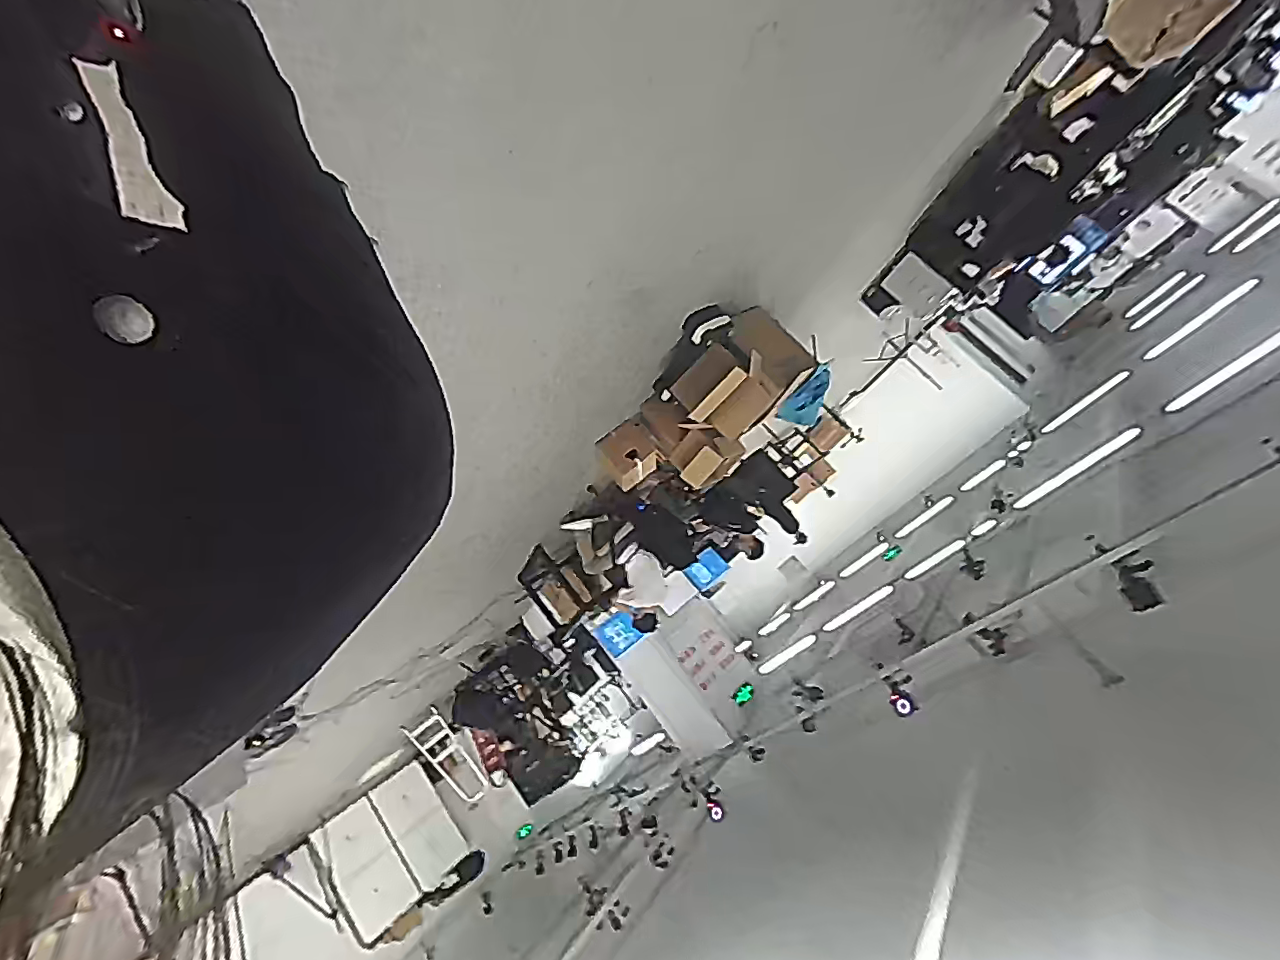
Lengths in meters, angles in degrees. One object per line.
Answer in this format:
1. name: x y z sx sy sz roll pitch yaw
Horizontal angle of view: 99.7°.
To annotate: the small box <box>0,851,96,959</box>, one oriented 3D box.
1. small box: -1.545 1.092 1.375 0.179 0.176 0.168 -24 158 -48
